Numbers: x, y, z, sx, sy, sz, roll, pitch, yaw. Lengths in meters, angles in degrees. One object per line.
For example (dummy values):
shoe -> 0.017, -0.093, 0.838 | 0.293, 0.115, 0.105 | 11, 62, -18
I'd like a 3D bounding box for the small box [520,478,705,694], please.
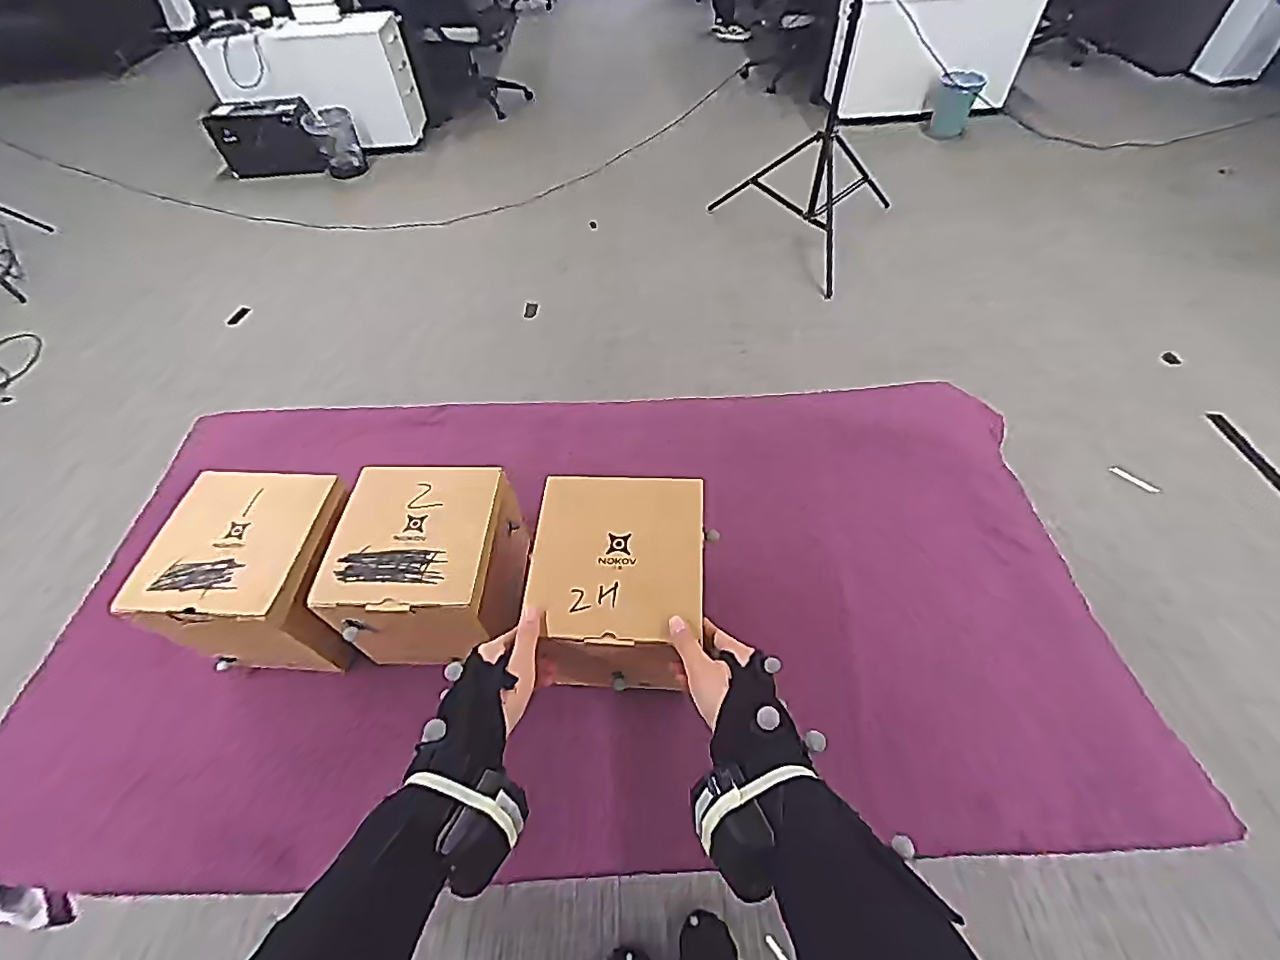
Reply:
small box -> -0.016, 0.117, 0.586 | 0.168, 0.176, 0.179 | 1, 56, 5
